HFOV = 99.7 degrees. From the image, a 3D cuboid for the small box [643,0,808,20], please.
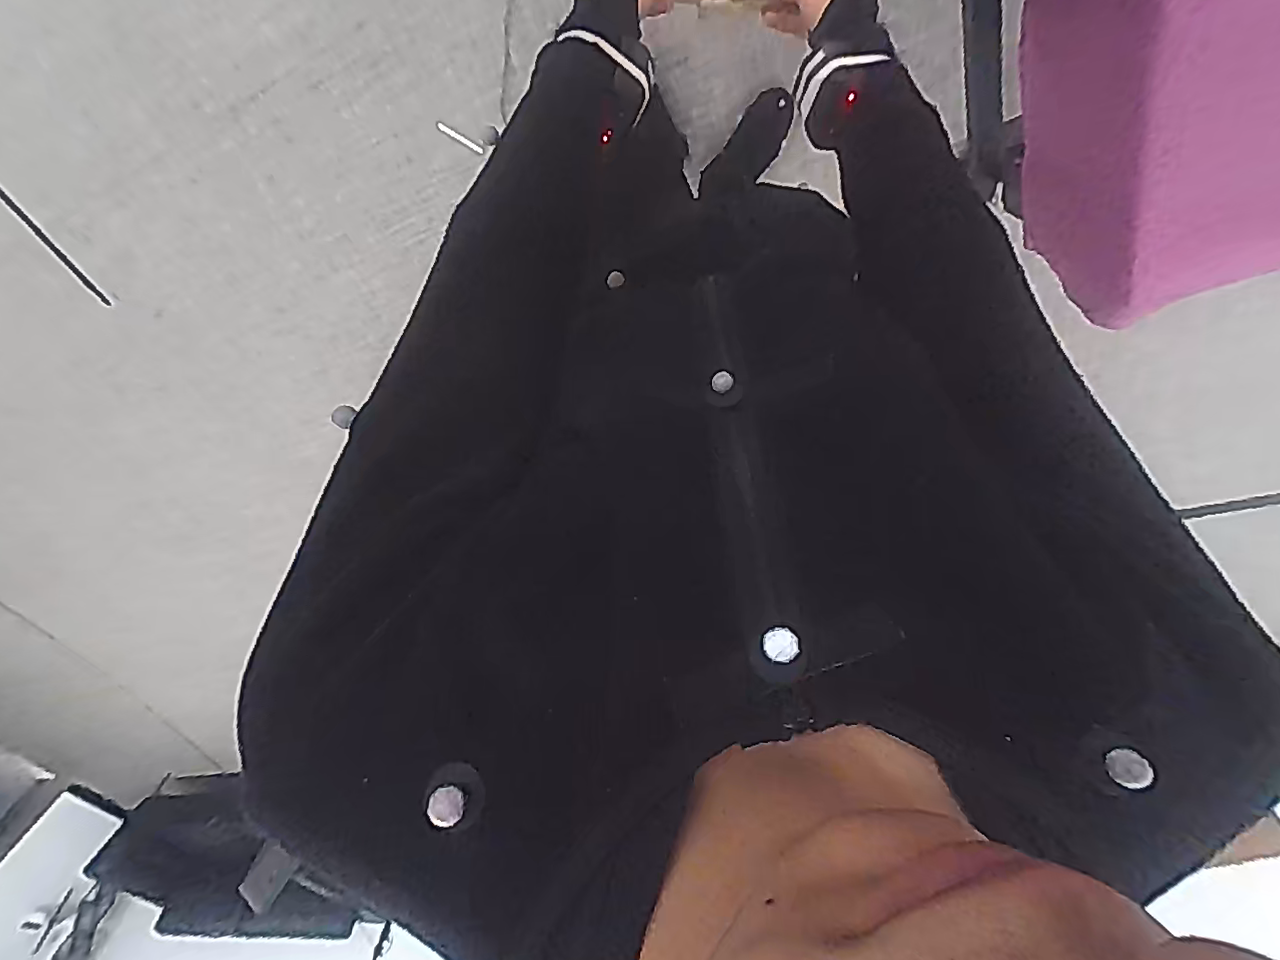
[{"bbox_3d":[0.083,-0.575,0.521,0.168,0.176,0.179,2,126,-5],"label":"small box"}]
